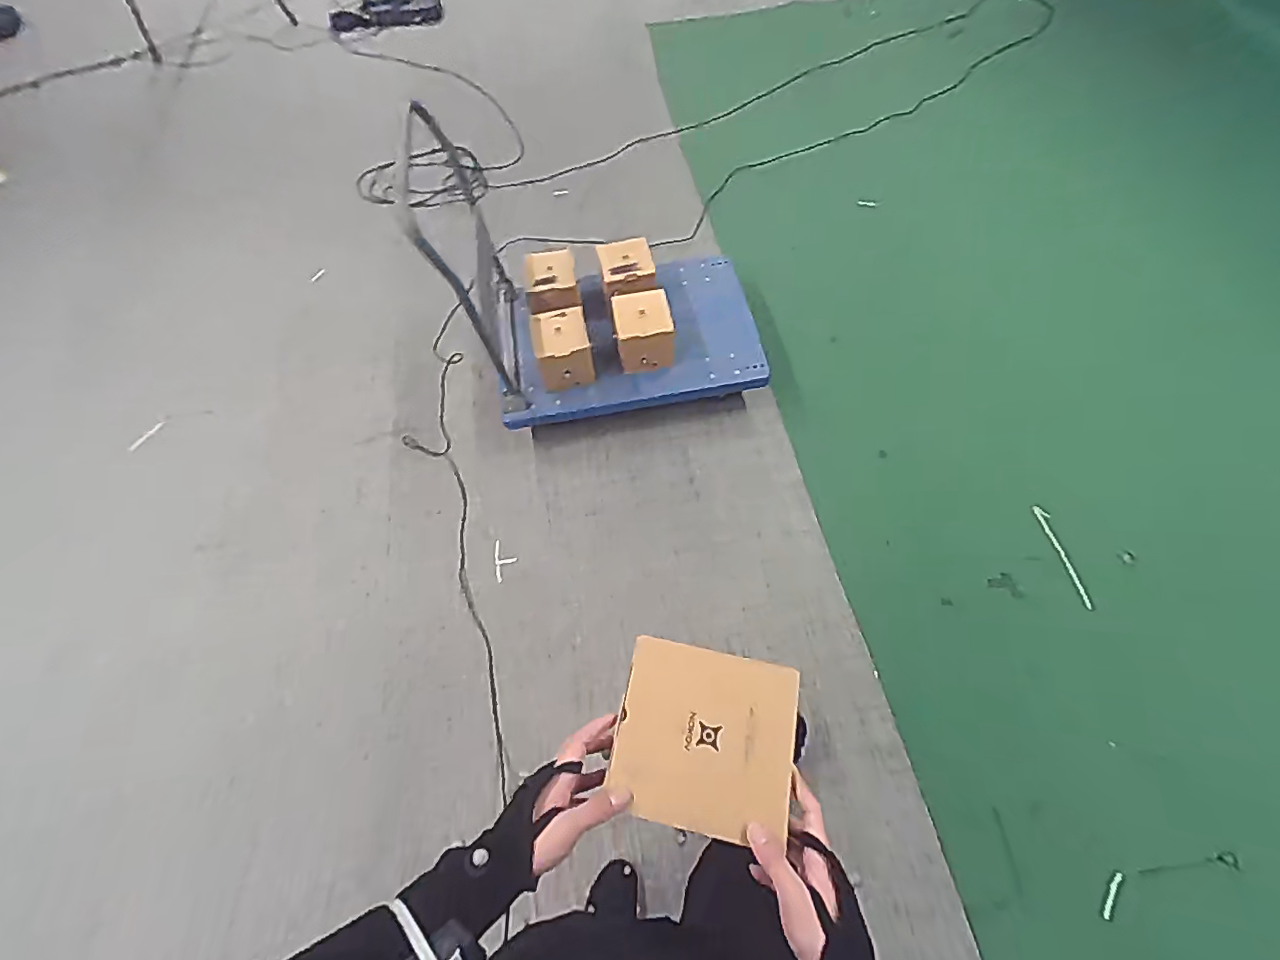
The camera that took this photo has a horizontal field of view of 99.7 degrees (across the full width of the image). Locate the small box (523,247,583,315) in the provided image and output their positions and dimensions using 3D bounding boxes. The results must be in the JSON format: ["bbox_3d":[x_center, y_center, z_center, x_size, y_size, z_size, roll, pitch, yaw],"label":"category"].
[{"bbox_3d":[-0.286,-0.639,1.796,0.168,0.176,0.179,-8,62,-1],"label":"small box"}]

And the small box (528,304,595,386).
[{"bbox_3d":[-0.240,-0.409,1.676,0.168,0.176,0.179,-12,64,-3],"label":"small box"}]
